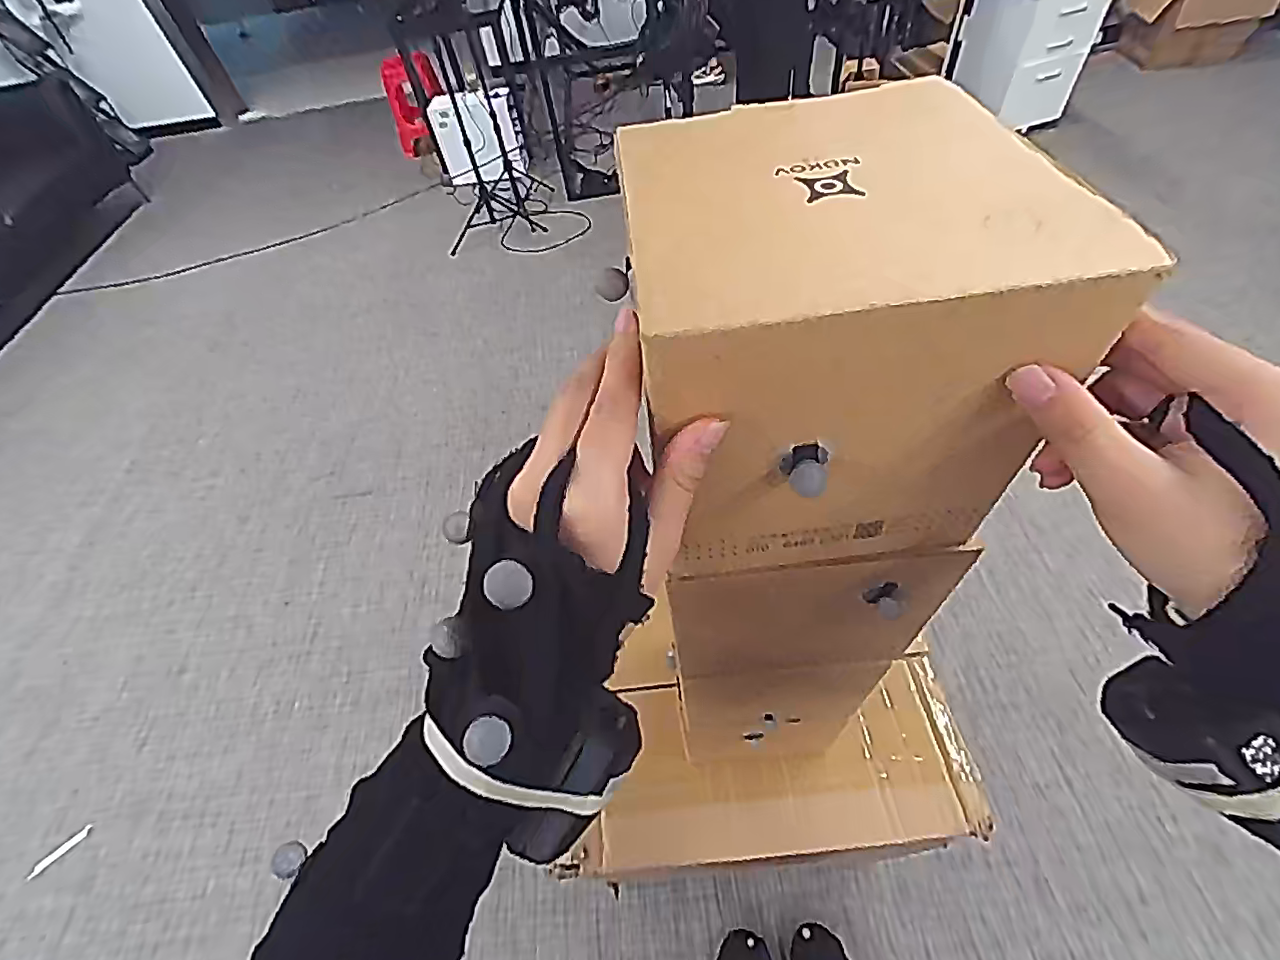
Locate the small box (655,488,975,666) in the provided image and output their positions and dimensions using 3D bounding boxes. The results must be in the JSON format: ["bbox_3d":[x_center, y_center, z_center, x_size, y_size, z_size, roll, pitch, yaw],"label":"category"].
[{"bbox_3d":[0.103,0.028,0.410,0.179,0.176,0.168,-7,52,3],"label":"small box"}]

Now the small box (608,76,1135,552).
[{"bbox_3d":[0.080,-0.075,0.287,0.168,0.176,0.179,-8,51,2],"label":"small box"}]

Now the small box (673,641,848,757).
[{"bbox_3d":[0.134,0.232,0.667,0.179,0.176,0.168,-6,52,3],"label":"small box"}]
